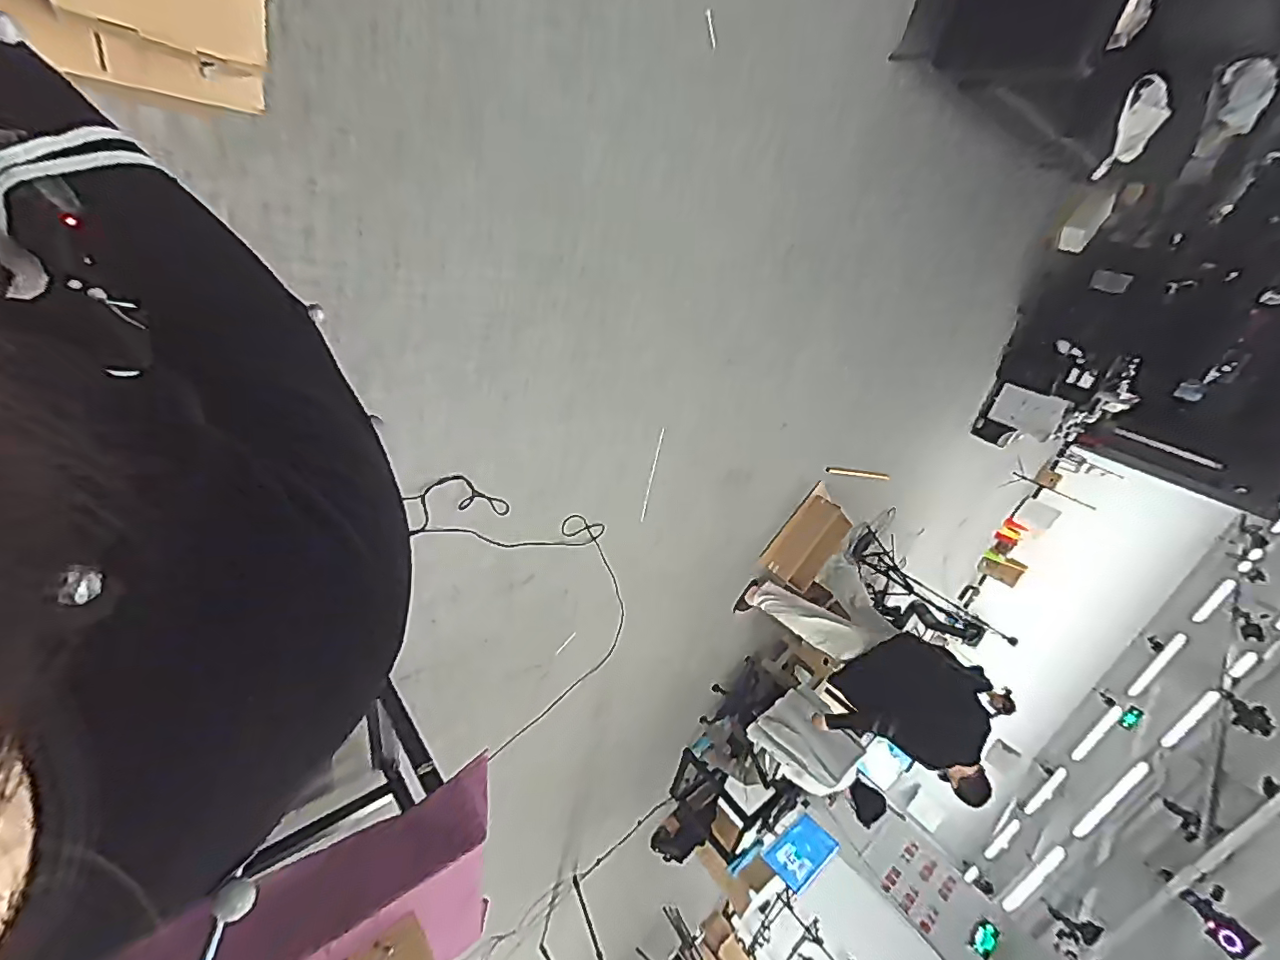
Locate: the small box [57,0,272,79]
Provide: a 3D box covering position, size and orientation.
[{"bbox_3d":[-0.492,-0.545,0.557,0.168,0.176,0.179,-8,122,-41],"label":"small box"}]

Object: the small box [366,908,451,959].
[{"bbox_3d":[-0.588,1.260,1.386,0.168,0.176,0.179,-14,128,-39],"label":"small box"}]
